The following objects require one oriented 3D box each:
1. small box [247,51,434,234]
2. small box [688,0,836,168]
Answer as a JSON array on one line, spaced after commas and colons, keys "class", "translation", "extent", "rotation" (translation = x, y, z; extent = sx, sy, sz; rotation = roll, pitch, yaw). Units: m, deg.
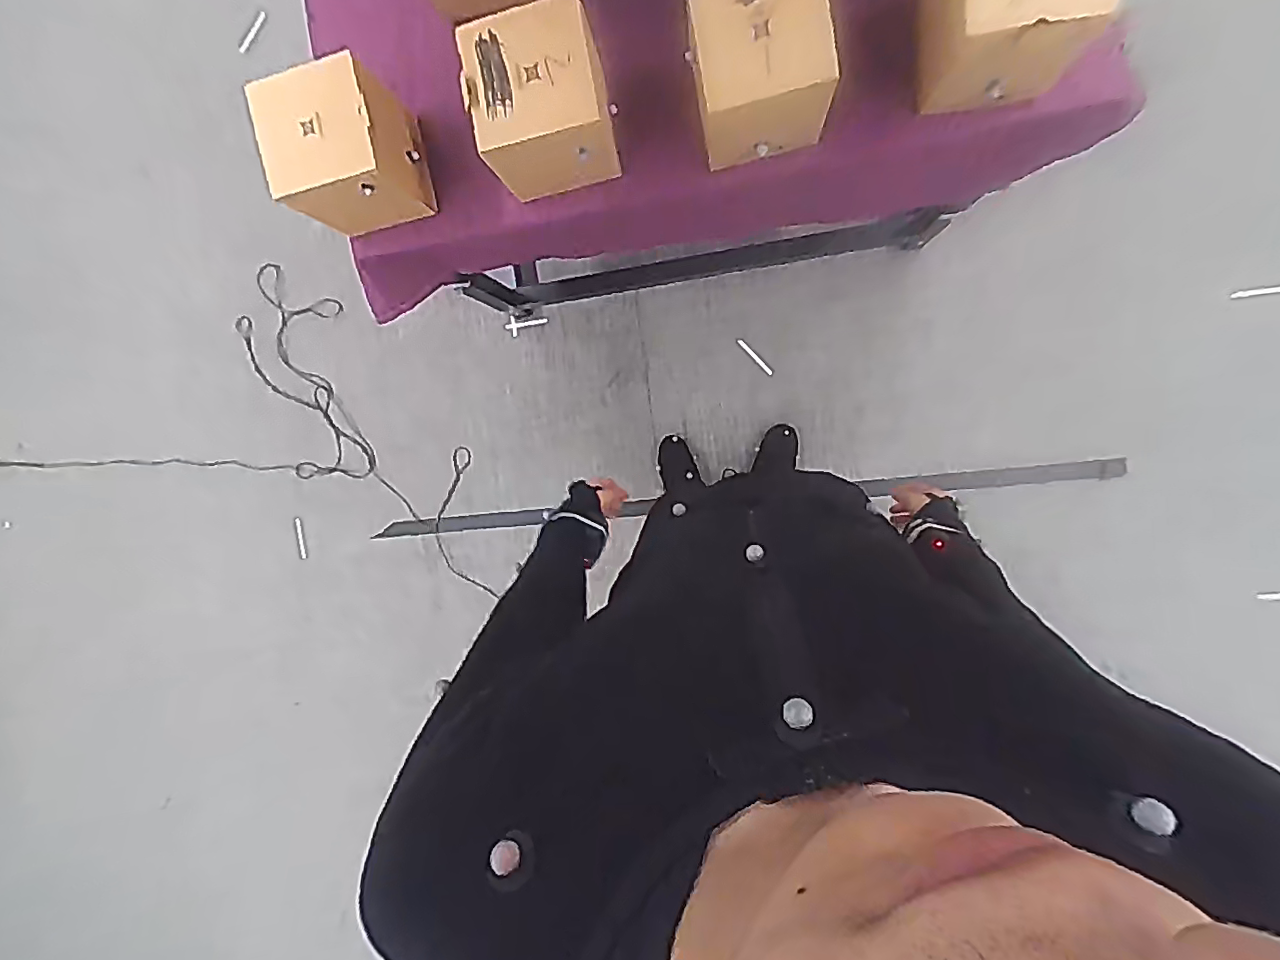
[{"class": "small box", "translation": [-0.457, -0.510, 0.848], "extent": [0.179, 0.176, 0.168], "rotation": [-11, 94, 9]}, {"class": "small box", "translation": [0.160, -0.572, 0.744], "extent": [0.168, 0.176, 0.179], "rotation": [-9, 96, 11]}]
